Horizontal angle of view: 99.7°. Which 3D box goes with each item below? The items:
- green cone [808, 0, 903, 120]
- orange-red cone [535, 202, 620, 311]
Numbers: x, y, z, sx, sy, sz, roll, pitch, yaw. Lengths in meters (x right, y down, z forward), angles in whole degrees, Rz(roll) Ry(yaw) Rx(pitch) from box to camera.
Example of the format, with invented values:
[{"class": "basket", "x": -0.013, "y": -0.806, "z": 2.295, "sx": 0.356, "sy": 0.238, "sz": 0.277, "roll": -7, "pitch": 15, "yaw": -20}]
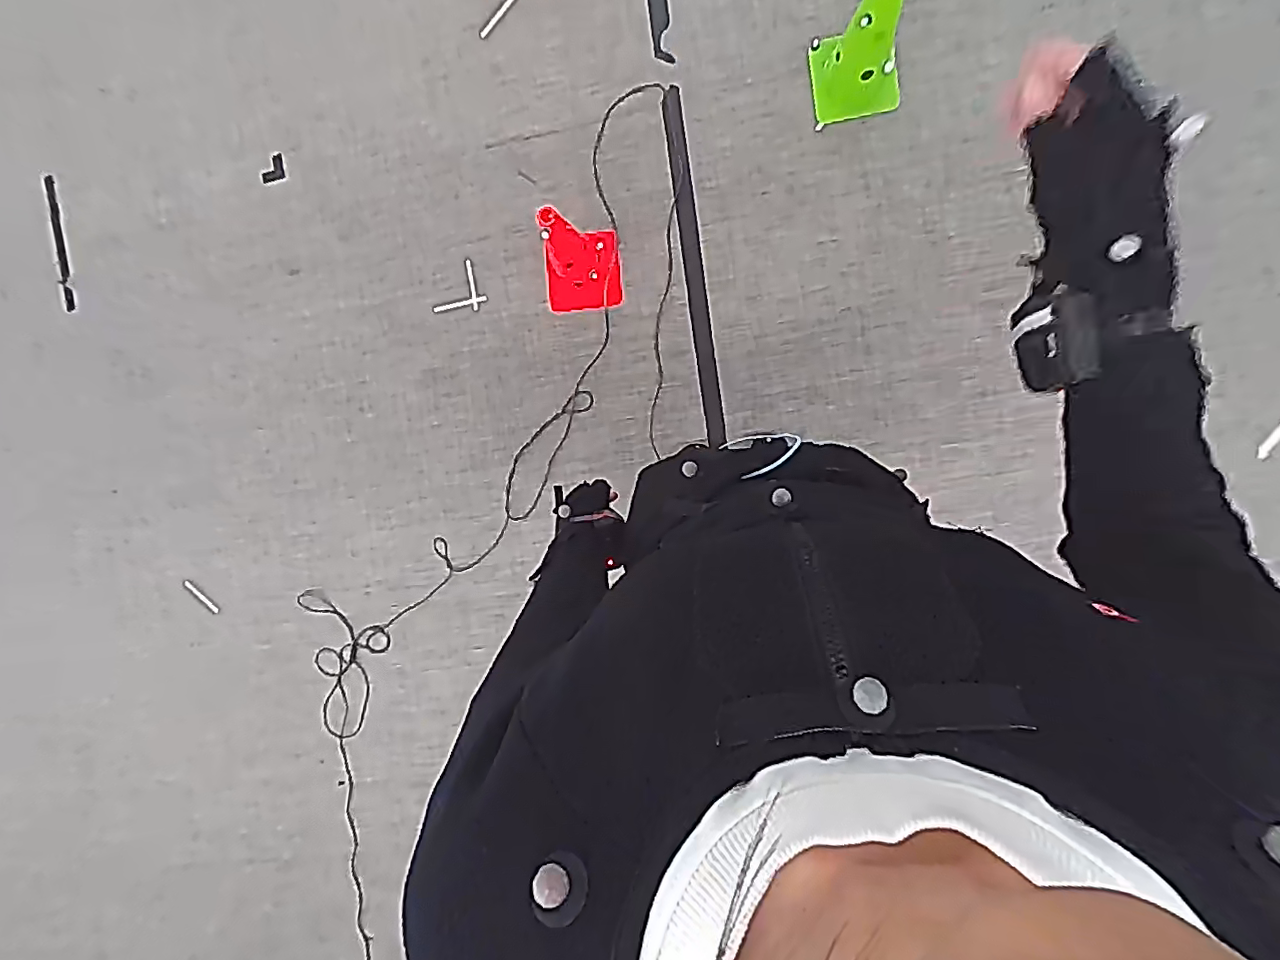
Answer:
[{"class": "green cone", "x": 0.504, "y": -0.983, "z": 1.151, "sx": 0.202, "sy": 0.368, "sz": 0.200, "roll": -8, "pitch": 93, "yaw": 6}, {"class": "orange-red cone", "x": -0.174, "y": -0.546, "z": 1.261, "sx": 0.199, "sy": 0.360, "sz": 0.198, "roll": -4, "pitch": 92, "yaw": 8}]
